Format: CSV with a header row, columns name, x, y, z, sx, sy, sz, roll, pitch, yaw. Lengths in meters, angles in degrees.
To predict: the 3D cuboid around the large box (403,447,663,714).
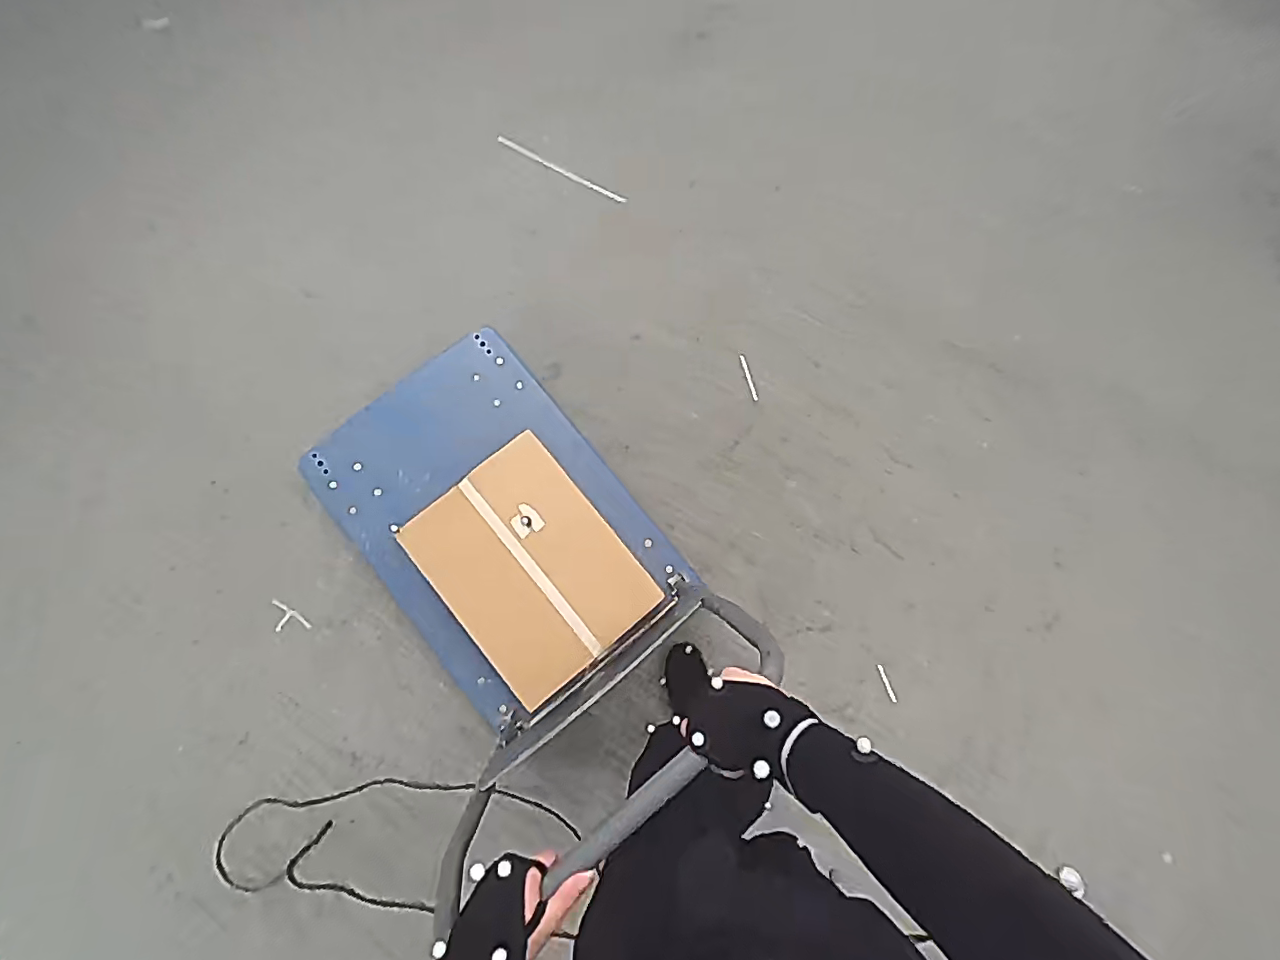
name,x,y,z,sx,sy,sz,roll,pitch,yaw
large box,-0.197,0.201,1.143,0.320,0.320,0.408,-40,83,-7
